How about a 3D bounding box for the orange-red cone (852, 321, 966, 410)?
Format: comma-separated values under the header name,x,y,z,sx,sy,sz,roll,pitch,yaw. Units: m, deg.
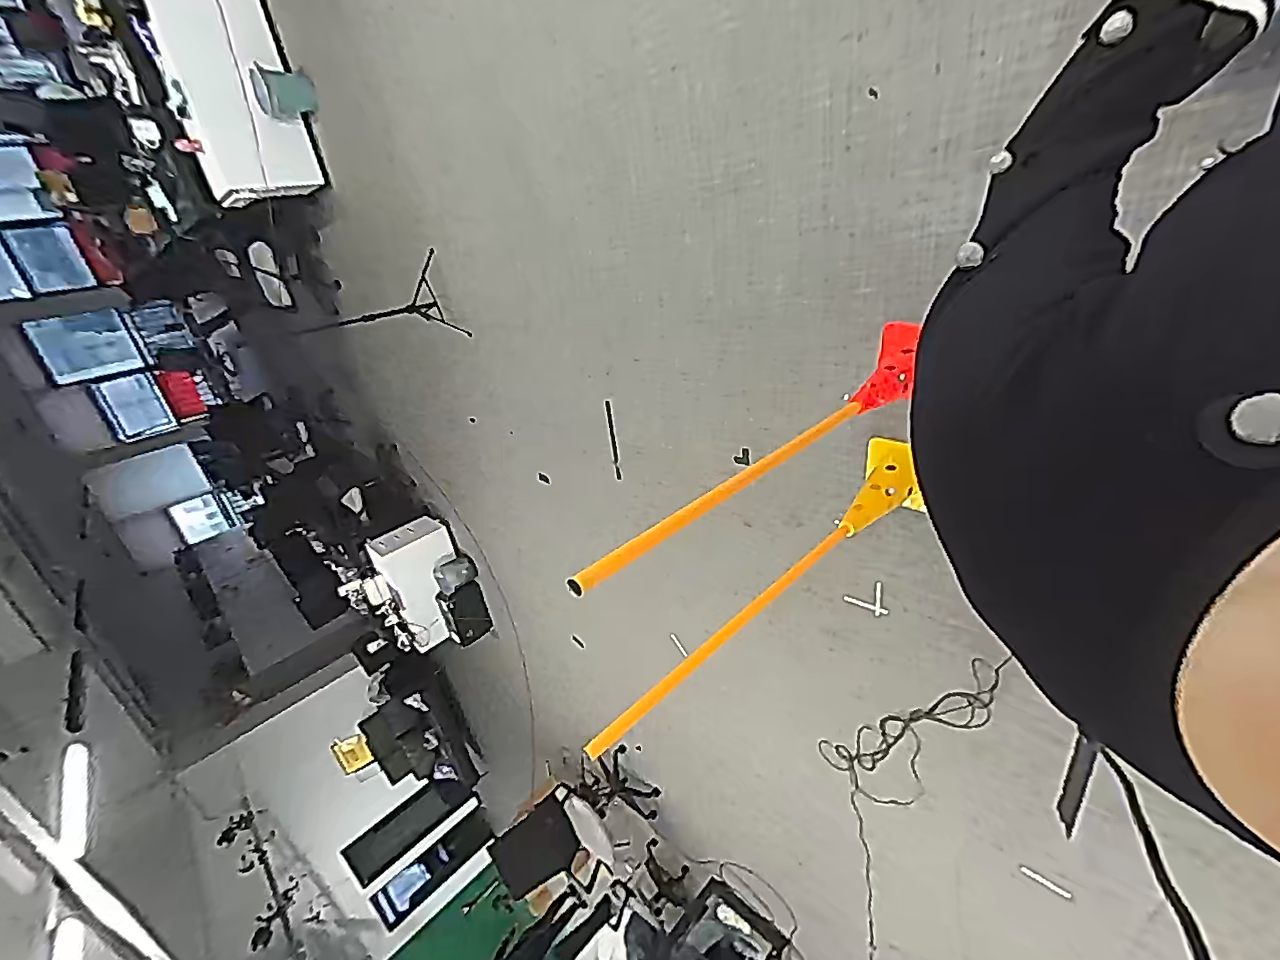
name,x,y,z,sx,sy,sz,roll,pitch,yaw
orange-red cone,0.610,-0.242,1.311,0.198,0.360,0.199,24,129,38
